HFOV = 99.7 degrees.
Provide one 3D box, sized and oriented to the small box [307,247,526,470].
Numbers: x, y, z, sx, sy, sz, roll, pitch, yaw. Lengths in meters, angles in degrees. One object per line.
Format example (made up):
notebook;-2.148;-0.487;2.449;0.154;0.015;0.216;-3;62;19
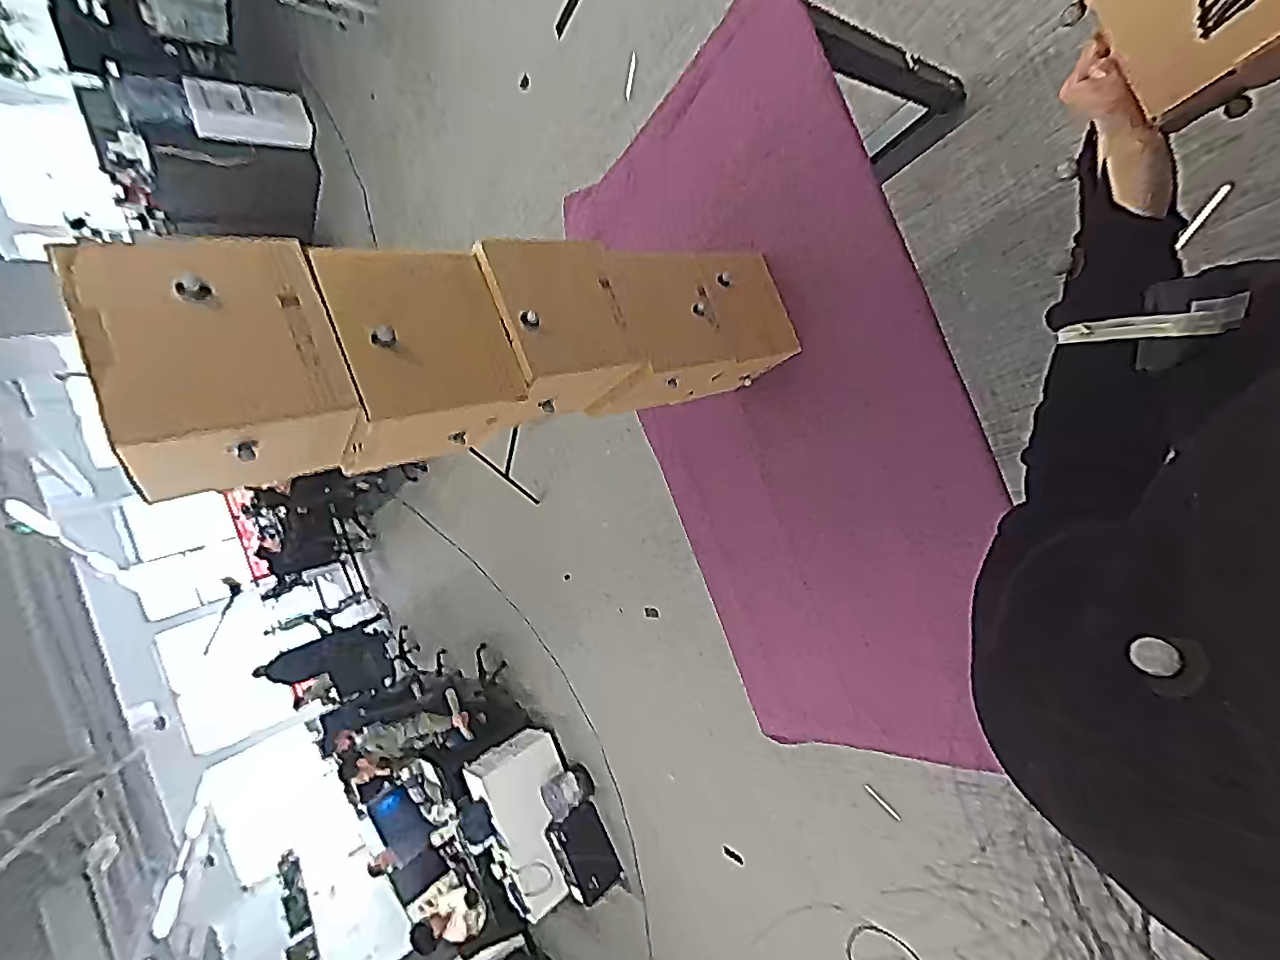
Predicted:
small box;-0.254;-0.131;0.599;0.168;0.176;0.179;-27;84;52

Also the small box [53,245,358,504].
small box;-0.381;-0.096;0.503;0.179;0.176;0.168;-30;81;53

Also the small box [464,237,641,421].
small box;-0.128;-0.183;0.689;0.179;0.176;0.168;-26;85;53

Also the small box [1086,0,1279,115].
small box;0.338;-0.330;0.282;0.168;0.176;0.179;-29;89;51

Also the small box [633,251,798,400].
small box;0.124;-0.251;0.887;0.168;0.176;0.179;-26;86;53
